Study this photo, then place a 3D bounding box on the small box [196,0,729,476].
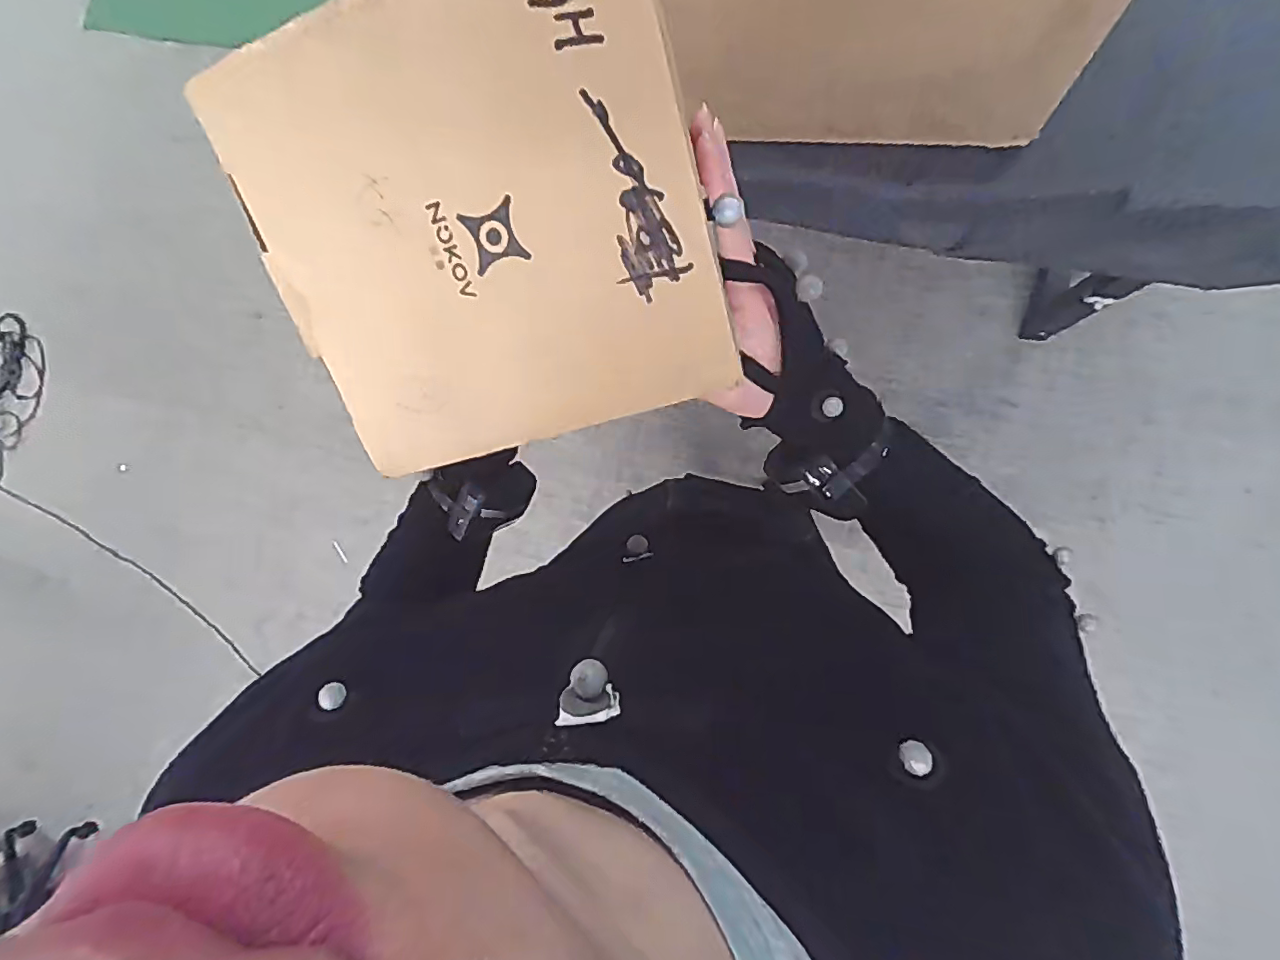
[{"bbox_3d":[-0.054,-0.122,0.284,0.179,0.176,0.168,-12,113,13],"label":"small box"}]
